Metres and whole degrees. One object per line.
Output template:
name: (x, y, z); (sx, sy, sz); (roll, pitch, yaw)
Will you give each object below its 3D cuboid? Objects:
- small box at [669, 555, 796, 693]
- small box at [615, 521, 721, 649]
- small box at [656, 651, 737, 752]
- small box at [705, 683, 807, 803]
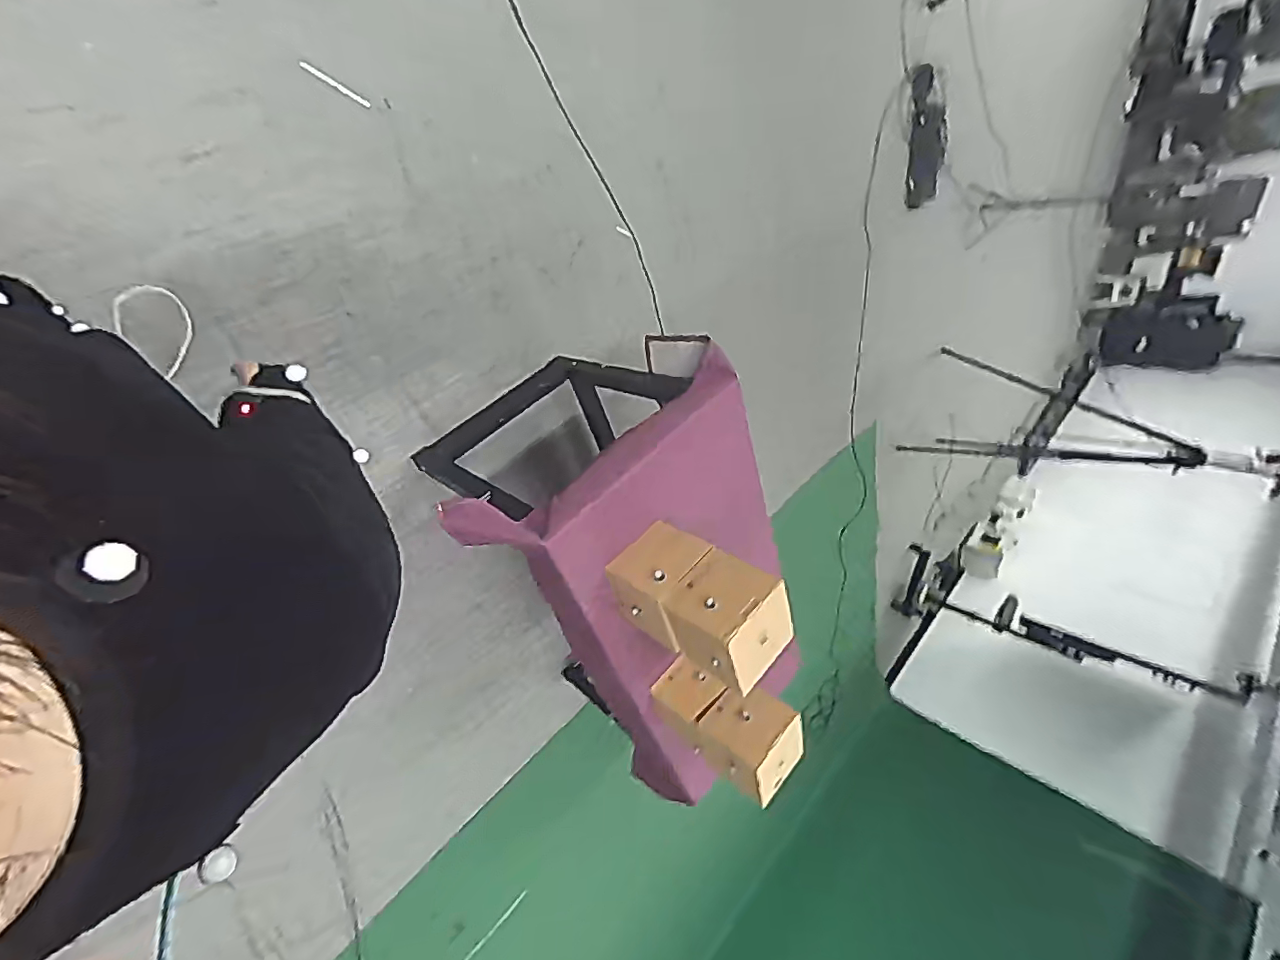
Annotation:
small box: (0.178, 0.267, 1.052); (0.168, 0.176, 0.179); (-40, 130, -25)
small box: (0.066, 0.218, 1.161); (0.179, 0.176, 0.168); (-39, 130, -27)
small box: (0.165, 0.562, 1.396); (0.168, 0.176, 0.179); (-41, 130, -26)
small box: (0.272, 0.603, 1.277); (0.168, 0.176, 0.179); (-36, 128, -29)
